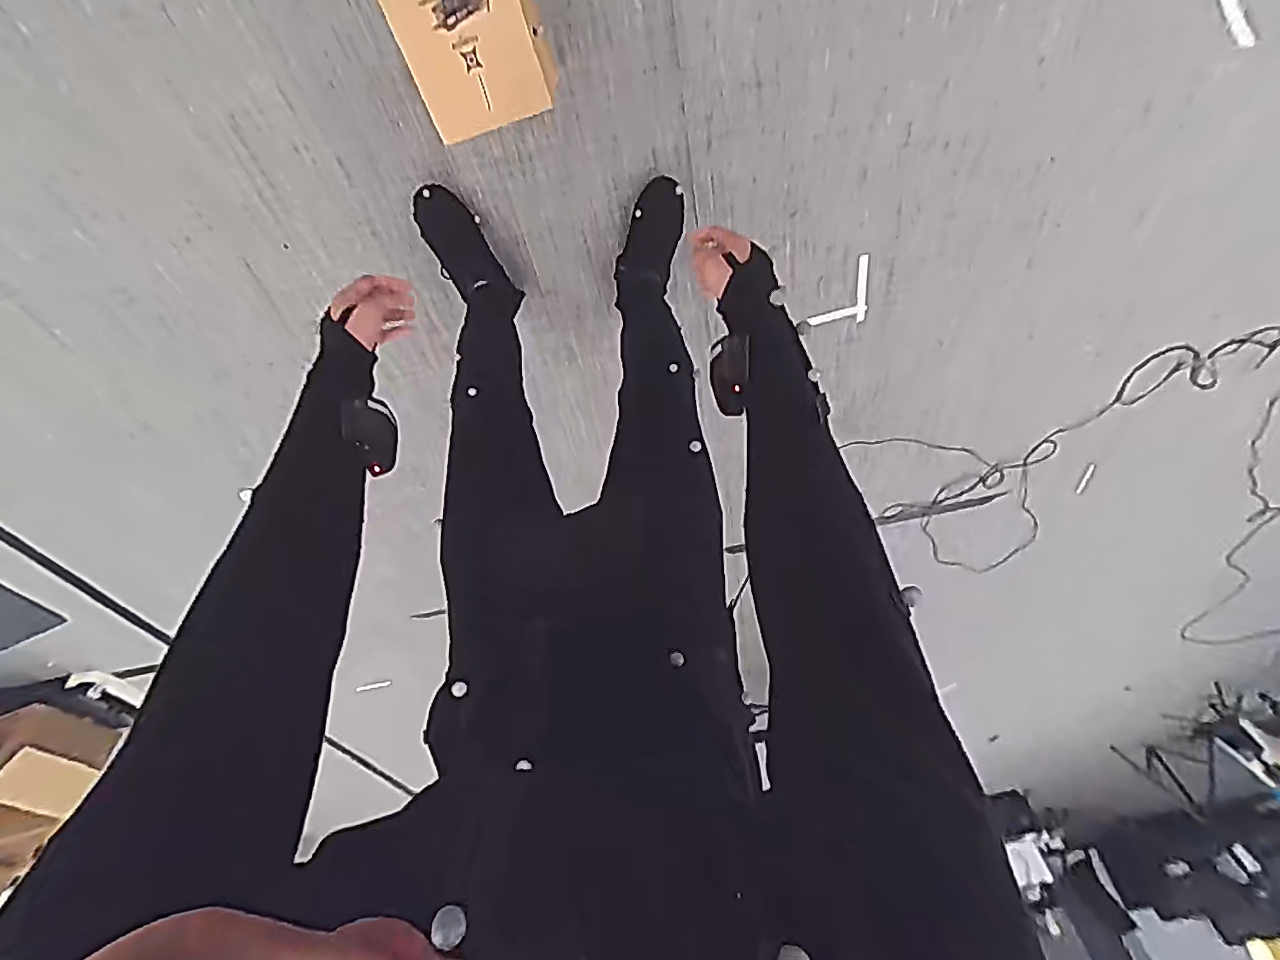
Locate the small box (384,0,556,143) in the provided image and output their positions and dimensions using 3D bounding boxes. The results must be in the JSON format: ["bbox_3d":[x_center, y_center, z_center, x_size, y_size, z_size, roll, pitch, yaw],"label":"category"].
[{"bbox_3d":[-0.224,-0.605,0.751,0.168,0.176,0.179,-15,134,6],"label":"small box"}]

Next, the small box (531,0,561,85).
[{"bbox_3d":[-0.235,-0.721,0.866,0.168,0.176,0.179,-16,133,7],"label":"small box"}]
